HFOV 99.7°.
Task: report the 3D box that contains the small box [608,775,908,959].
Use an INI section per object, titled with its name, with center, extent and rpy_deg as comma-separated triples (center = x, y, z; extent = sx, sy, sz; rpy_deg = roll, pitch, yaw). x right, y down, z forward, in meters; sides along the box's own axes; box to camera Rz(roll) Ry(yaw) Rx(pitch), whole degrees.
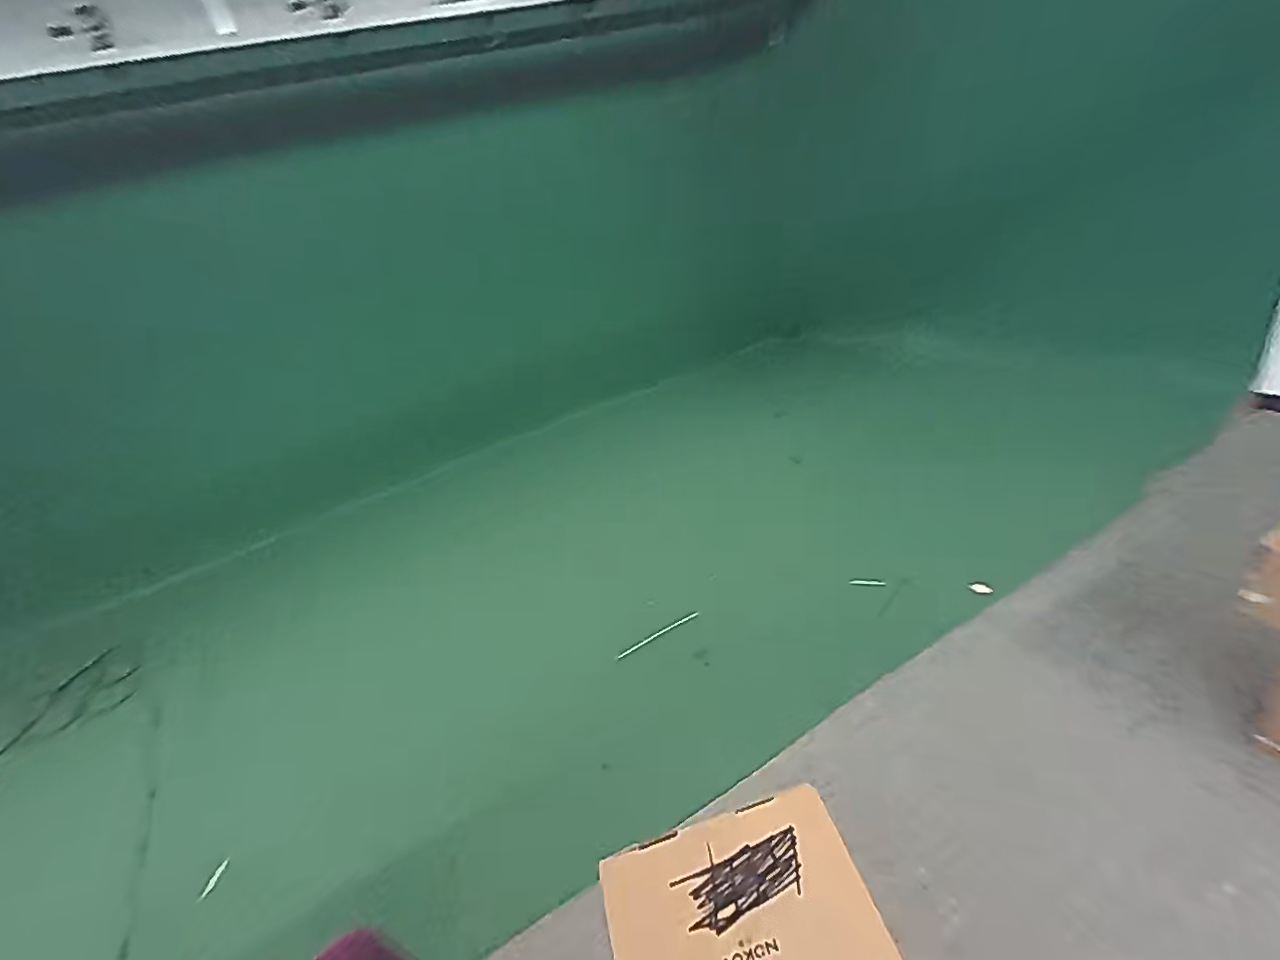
[small box]
center = 0.087, 0.349, 0.373
extent = 0.168, 0.176, 0.179
rpy_deg = -17, 38, -4
